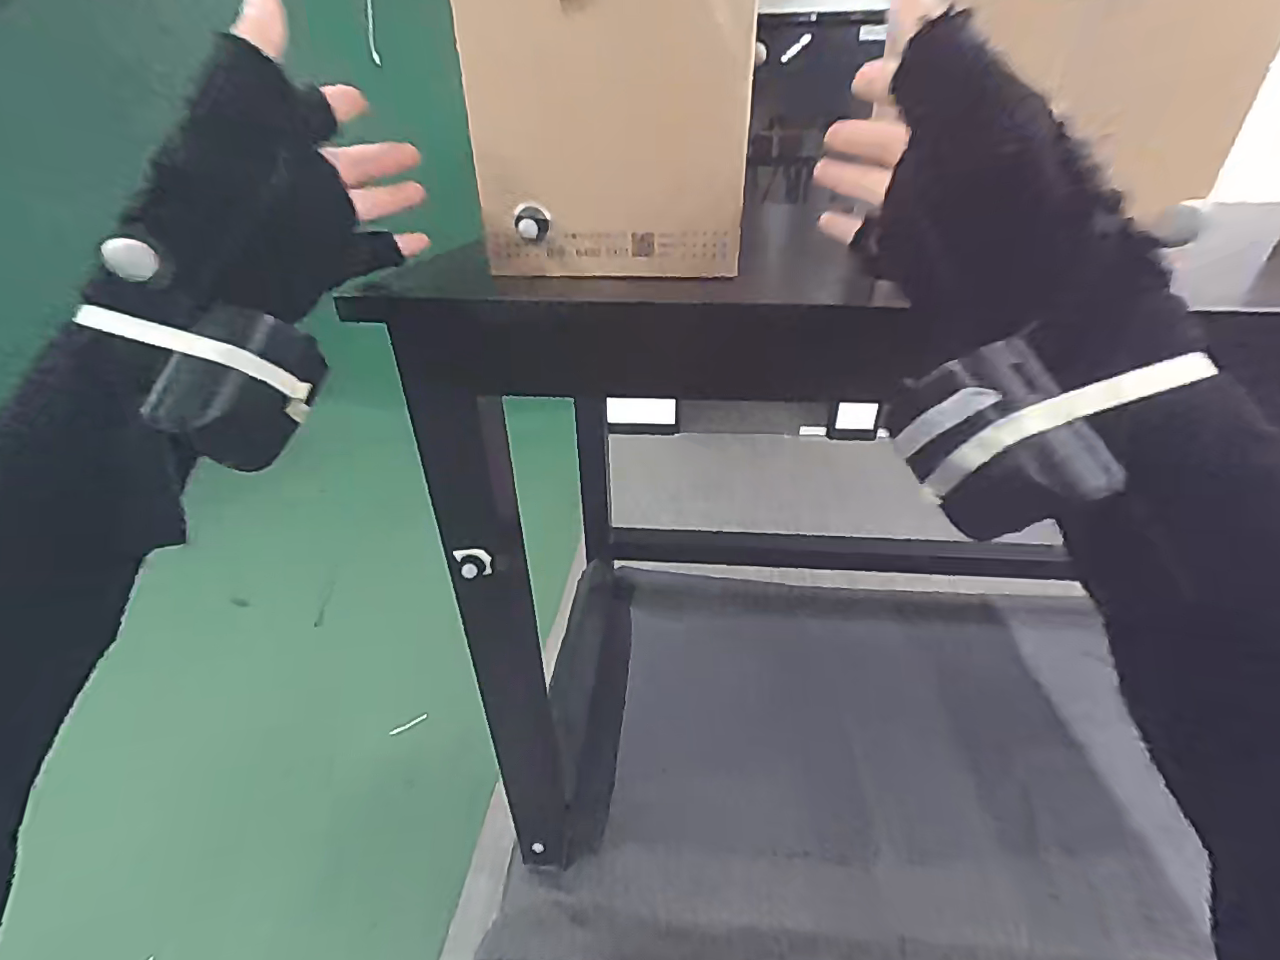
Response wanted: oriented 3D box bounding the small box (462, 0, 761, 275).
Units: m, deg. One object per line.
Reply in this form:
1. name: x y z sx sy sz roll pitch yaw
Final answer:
1. small box: -0.007 -0.248 0.389 0.168 0.176 0.179 2 30 4

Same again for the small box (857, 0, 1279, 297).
1. small box: 0.256 -0.235 0.371 0.168 0.176 0.179 7 33 12
